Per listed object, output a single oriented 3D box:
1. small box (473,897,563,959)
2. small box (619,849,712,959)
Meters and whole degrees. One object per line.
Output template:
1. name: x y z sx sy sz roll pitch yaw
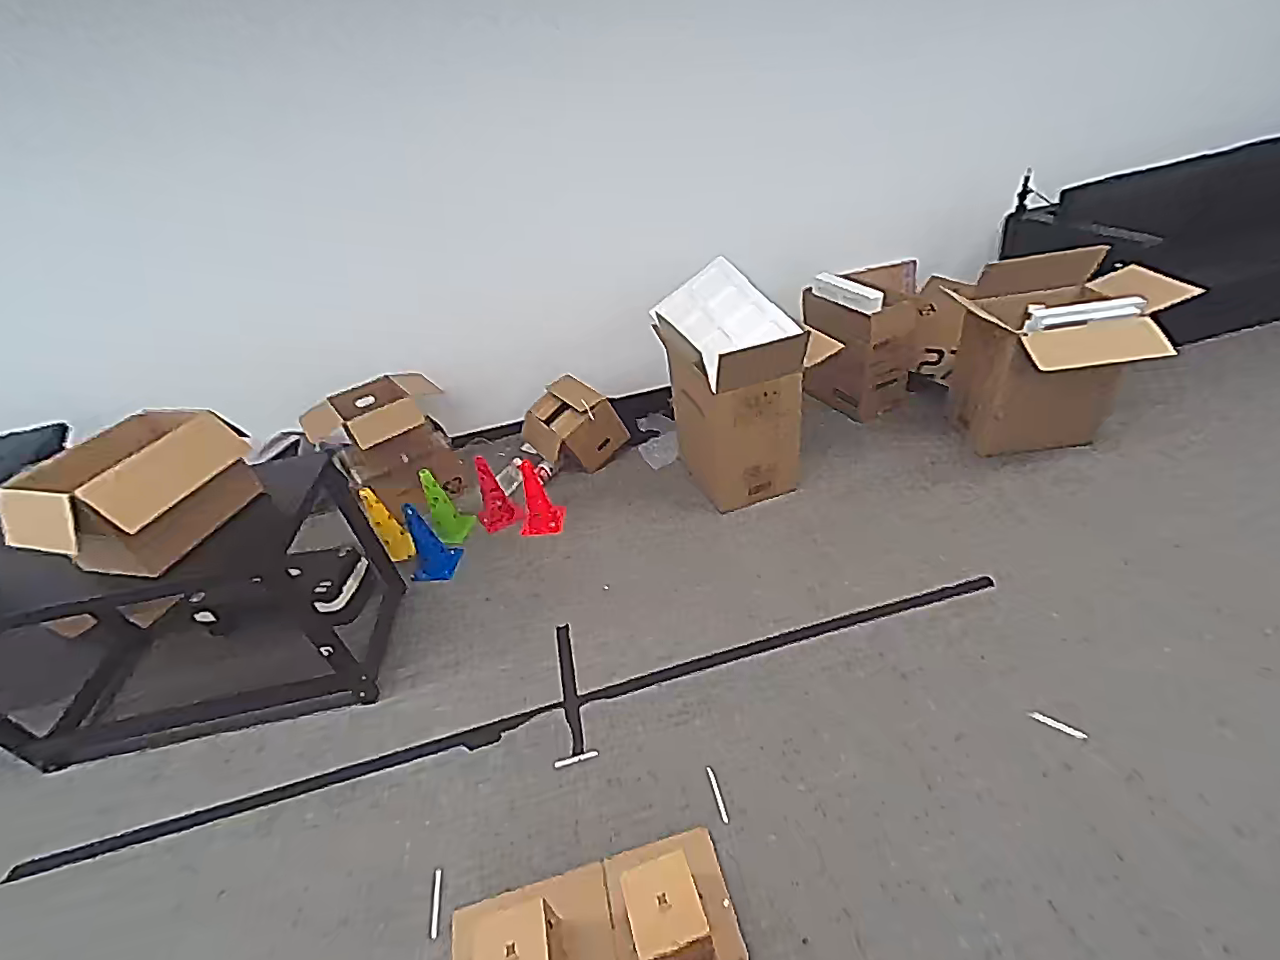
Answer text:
1. small box: -0.272 1.100 1.226 0.168 0.176 0.179 -16 37 -7
2. small box: 0.059 1.020 1.267 0.168 0.176 0.179 -17 37 -10
